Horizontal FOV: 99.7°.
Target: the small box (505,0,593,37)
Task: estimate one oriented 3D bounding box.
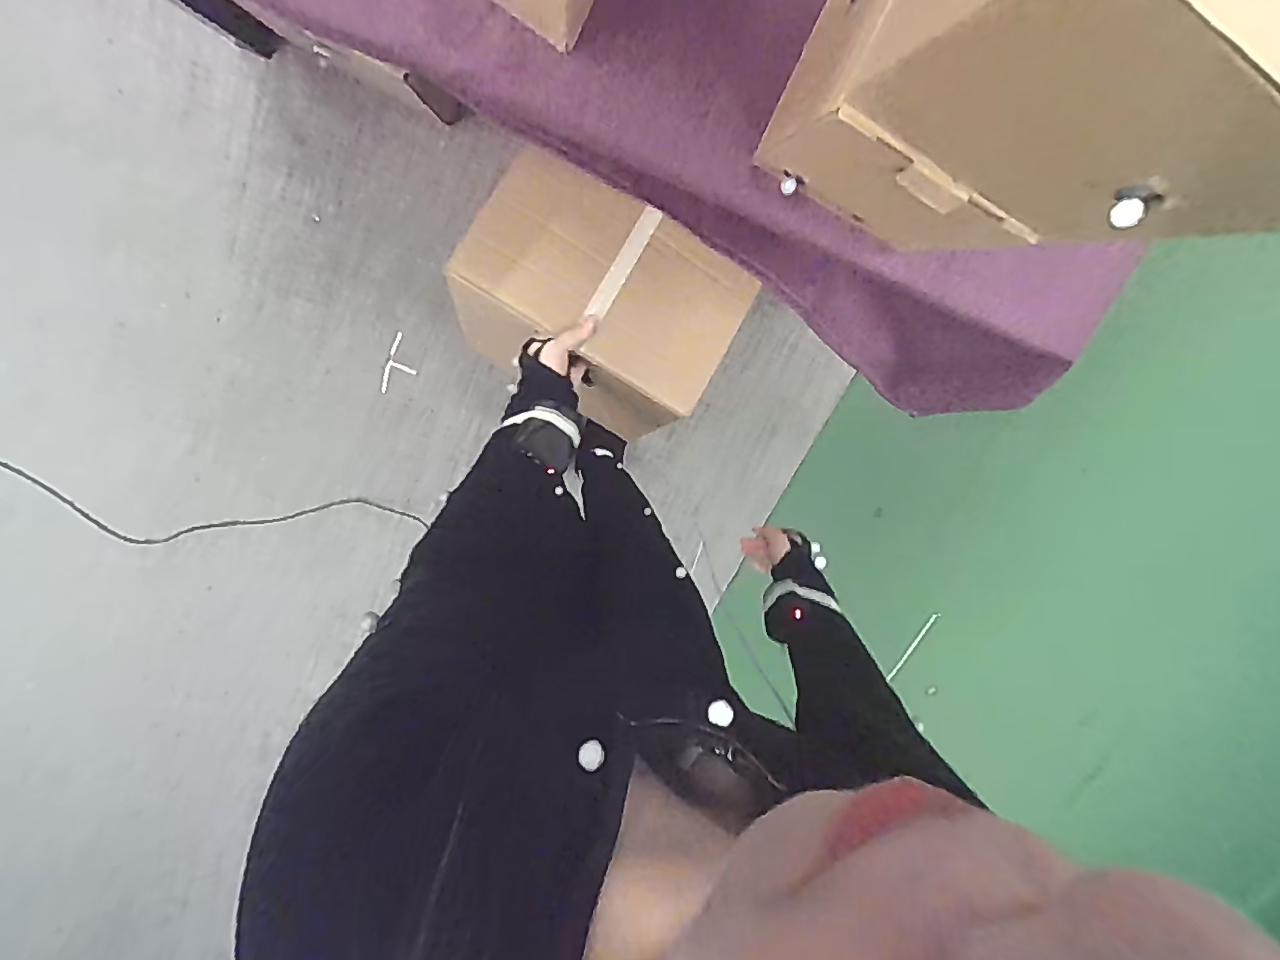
[{"bbox_3d":[-0.071,-0.412,0.302,0.168,0.176,0.179,27,108,-16],"label":"small box"}]

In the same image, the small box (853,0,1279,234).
[{"bbox_3d":[0.236,-0.226,0.234,0.179,0.176,0.168,23,107,-14],"label":"small box"}]

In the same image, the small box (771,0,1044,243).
[{"bbox_3d":[0.214,-0.287,0.384,0.168,0.176,0.179,22,107,-14],"label":"small box"}]
